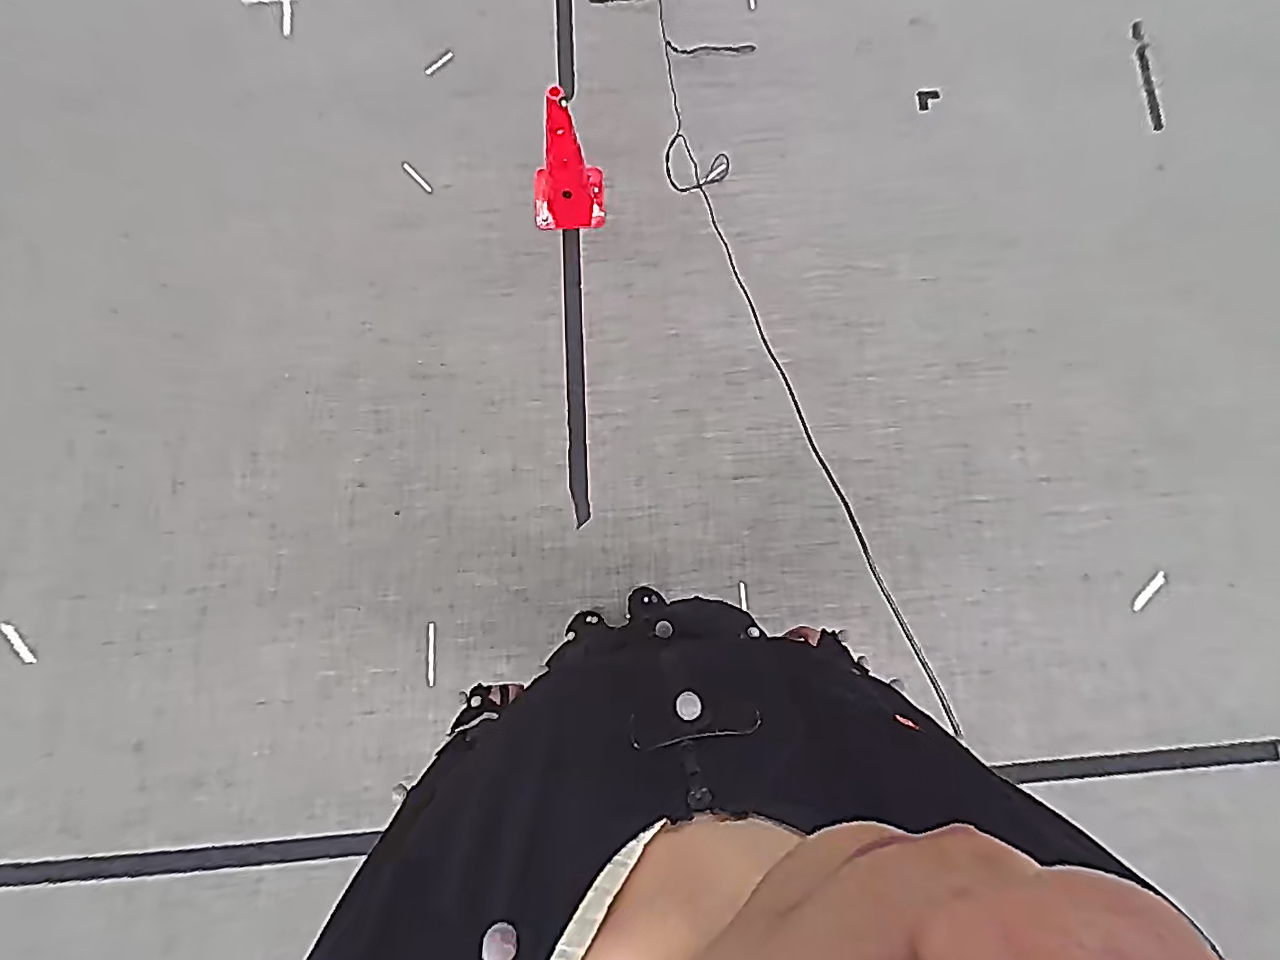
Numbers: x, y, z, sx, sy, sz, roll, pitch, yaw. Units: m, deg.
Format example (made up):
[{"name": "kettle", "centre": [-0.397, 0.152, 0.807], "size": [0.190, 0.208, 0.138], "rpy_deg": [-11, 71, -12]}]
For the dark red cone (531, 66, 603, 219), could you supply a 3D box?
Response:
[{"name": "dark red cone", "centre": [-0.203, -0.868, 1.394], "size": [0.201, 0.394, 0.202], "rpy_deg": [-4, 79, -4]}]
